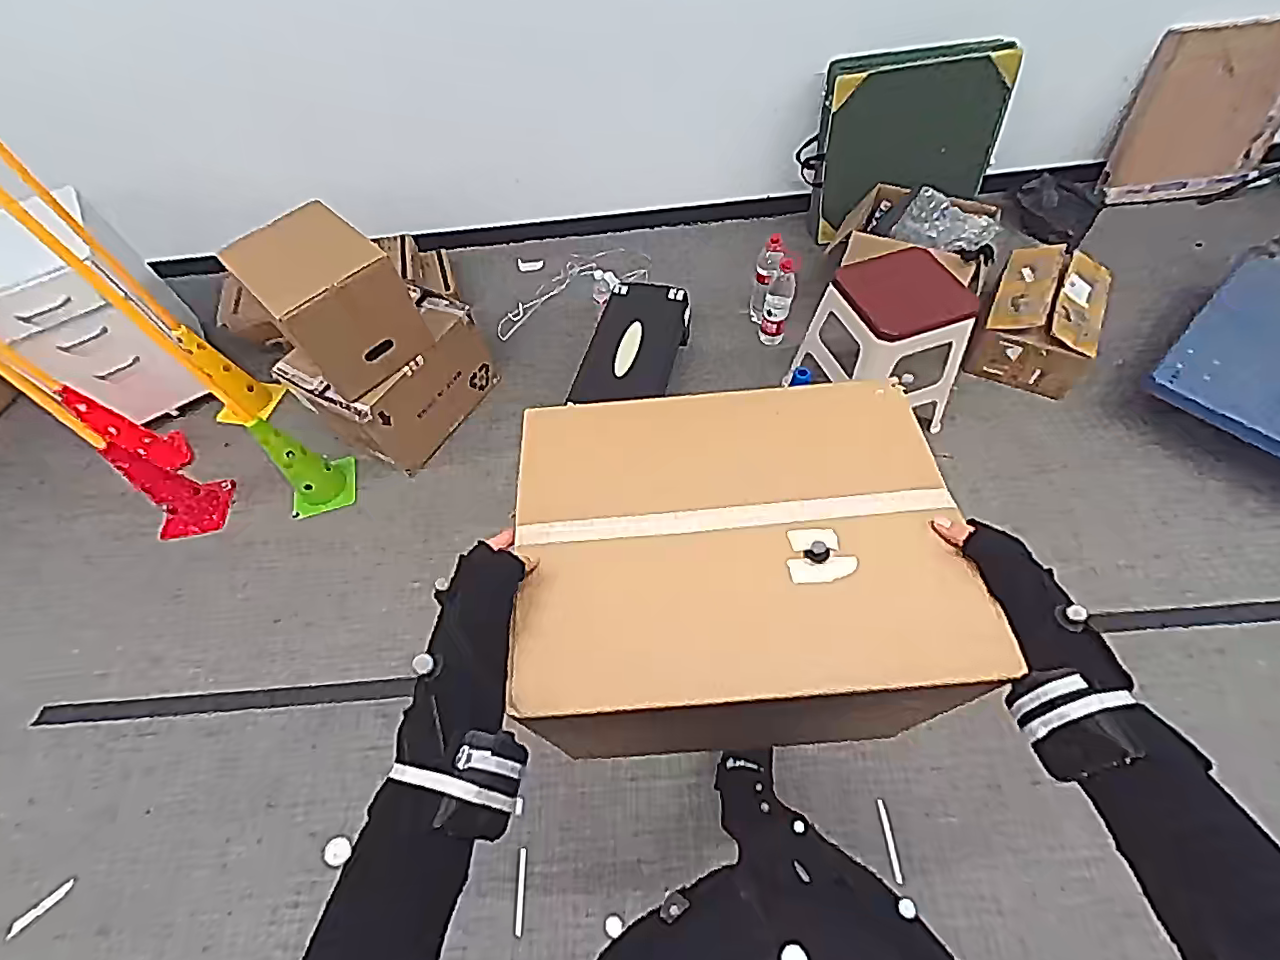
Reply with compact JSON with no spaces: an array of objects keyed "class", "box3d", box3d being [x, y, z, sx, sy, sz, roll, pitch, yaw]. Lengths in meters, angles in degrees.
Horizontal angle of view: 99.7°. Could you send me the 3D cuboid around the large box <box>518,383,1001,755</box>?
[{"class":"large box","box3d":[0.093,0.119,0.640,0.408,0.320,0.320,-5,57,1]}]
